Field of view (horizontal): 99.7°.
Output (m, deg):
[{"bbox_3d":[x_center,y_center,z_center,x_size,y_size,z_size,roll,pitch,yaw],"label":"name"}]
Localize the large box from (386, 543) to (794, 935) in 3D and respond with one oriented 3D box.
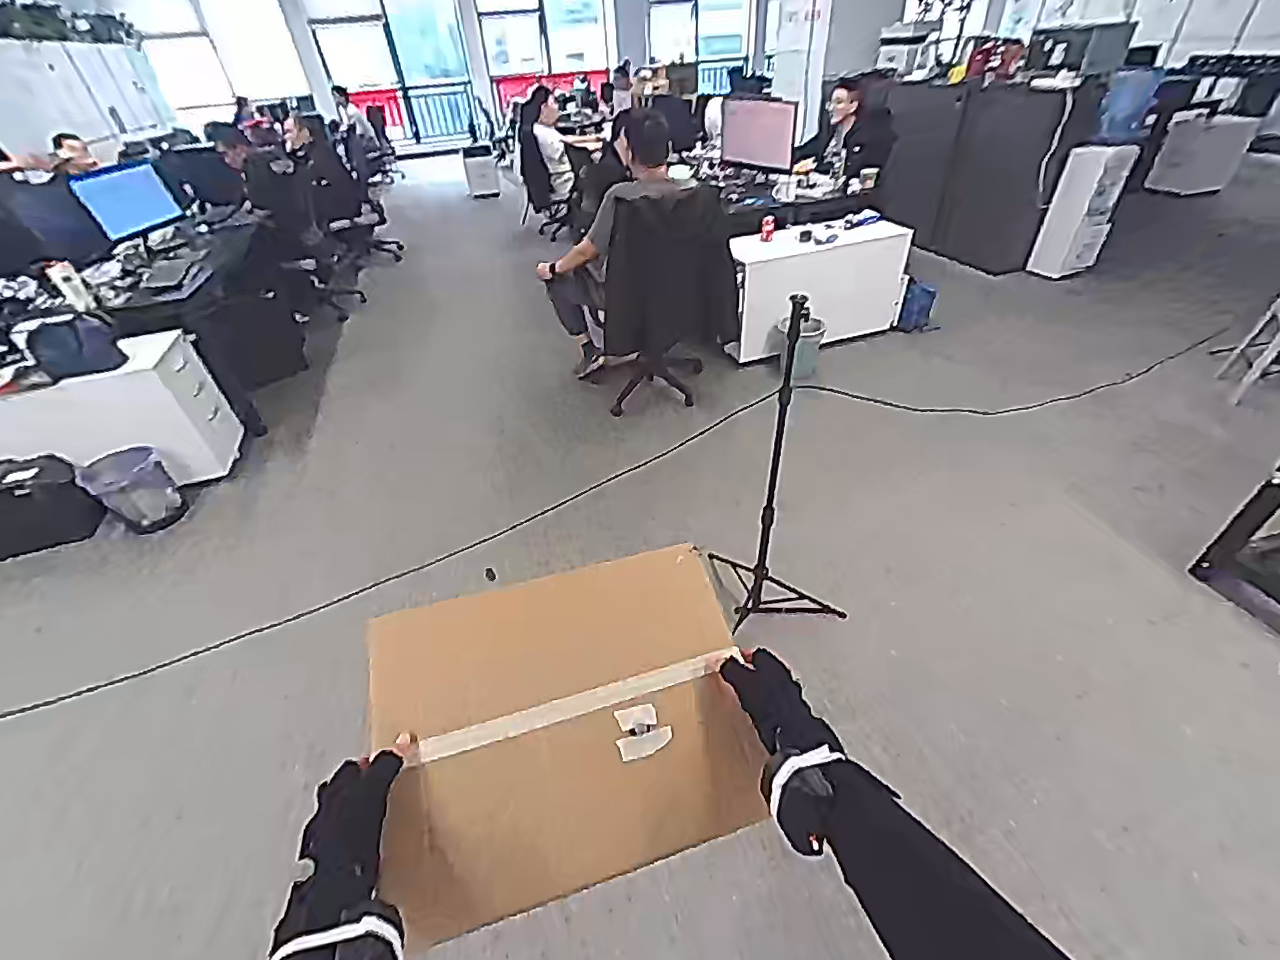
[{"bbox_3d":[-0.079,0.331,0.722,0.408,0.320,0.320,-12,57,-13],"label":"large box"}]
